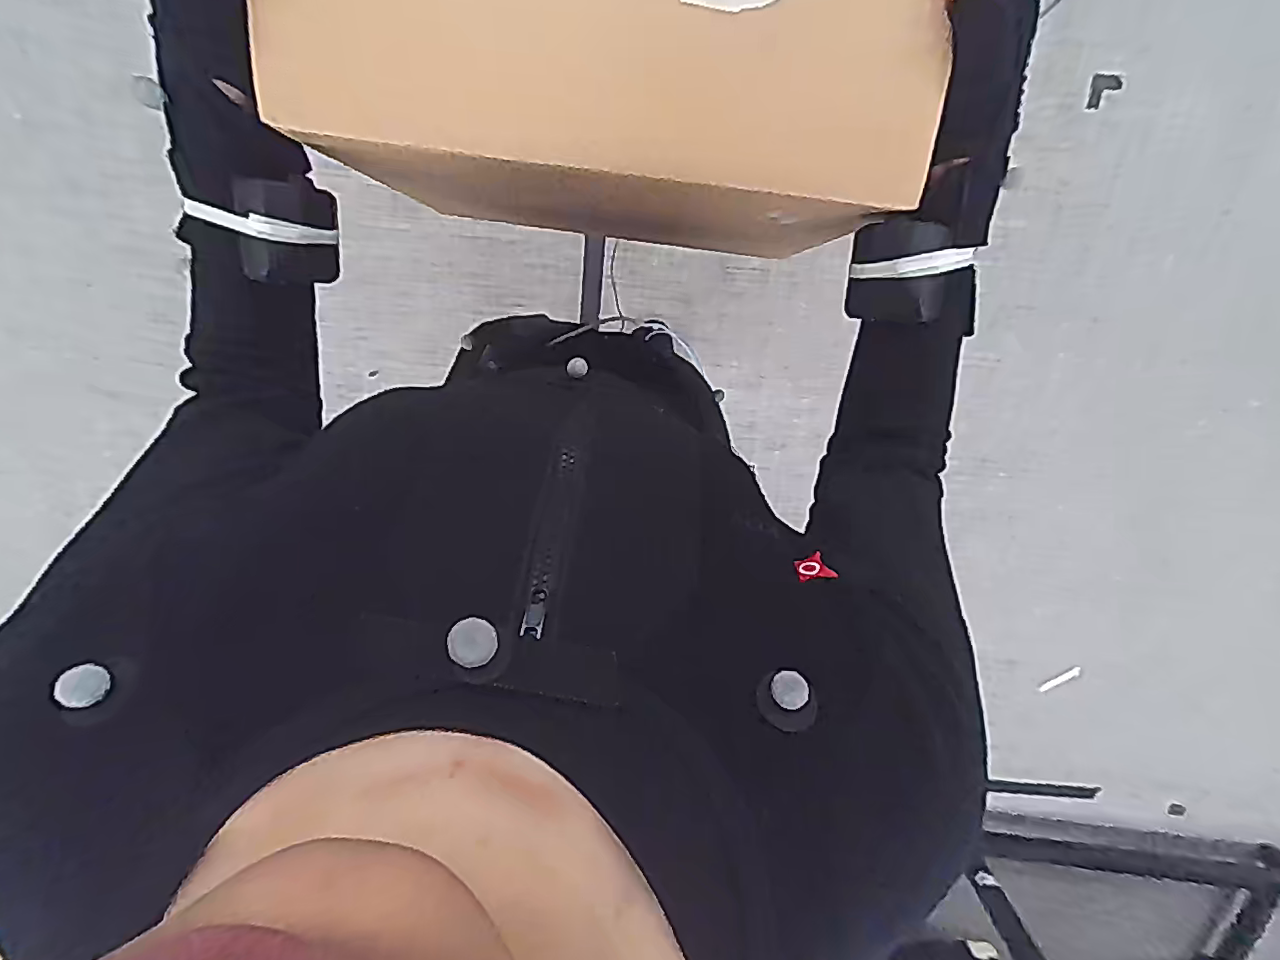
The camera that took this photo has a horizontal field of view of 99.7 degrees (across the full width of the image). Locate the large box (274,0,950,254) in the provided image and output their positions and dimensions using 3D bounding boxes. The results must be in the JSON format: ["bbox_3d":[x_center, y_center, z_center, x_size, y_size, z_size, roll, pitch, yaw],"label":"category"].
[{"bbox_3d":[-0.012,-0.385,0.443,0.408,0.320,0.320,6,108,-3],"label":"large box"}]
